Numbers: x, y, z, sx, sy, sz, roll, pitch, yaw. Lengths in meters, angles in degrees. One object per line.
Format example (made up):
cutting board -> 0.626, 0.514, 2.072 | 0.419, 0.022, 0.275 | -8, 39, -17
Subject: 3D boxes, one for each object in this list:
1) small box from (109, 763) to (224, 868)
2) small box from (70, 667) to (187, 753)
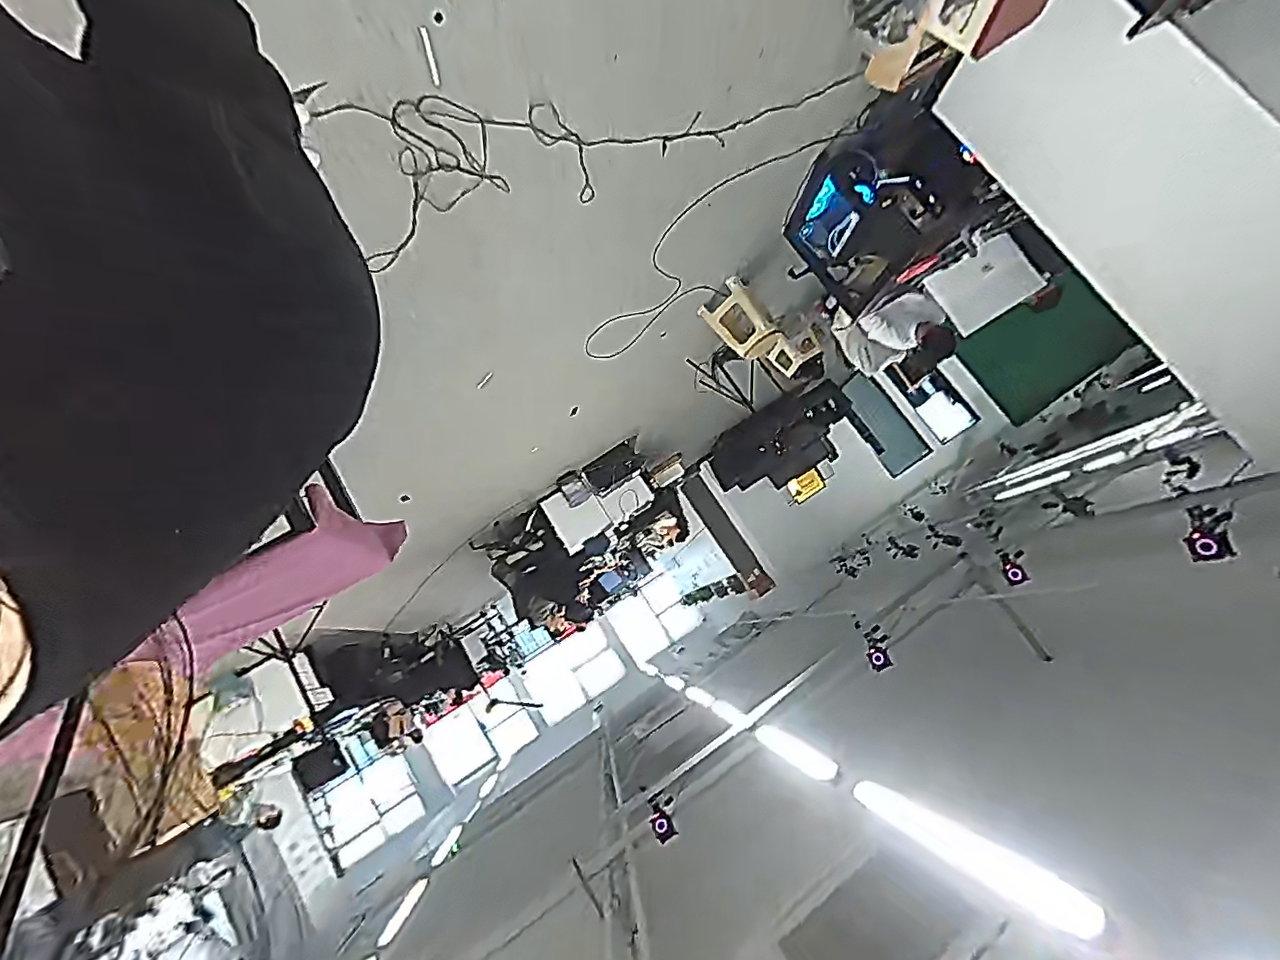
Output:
small box -> -1.358, 0.949, 1.549 | 0.179, 0.176, 0.168 | -31, 169, -15
small box -> -1.531, 0.677, 1.619 | 0.179, 0.176, 0.168 | -30, 167, -15
